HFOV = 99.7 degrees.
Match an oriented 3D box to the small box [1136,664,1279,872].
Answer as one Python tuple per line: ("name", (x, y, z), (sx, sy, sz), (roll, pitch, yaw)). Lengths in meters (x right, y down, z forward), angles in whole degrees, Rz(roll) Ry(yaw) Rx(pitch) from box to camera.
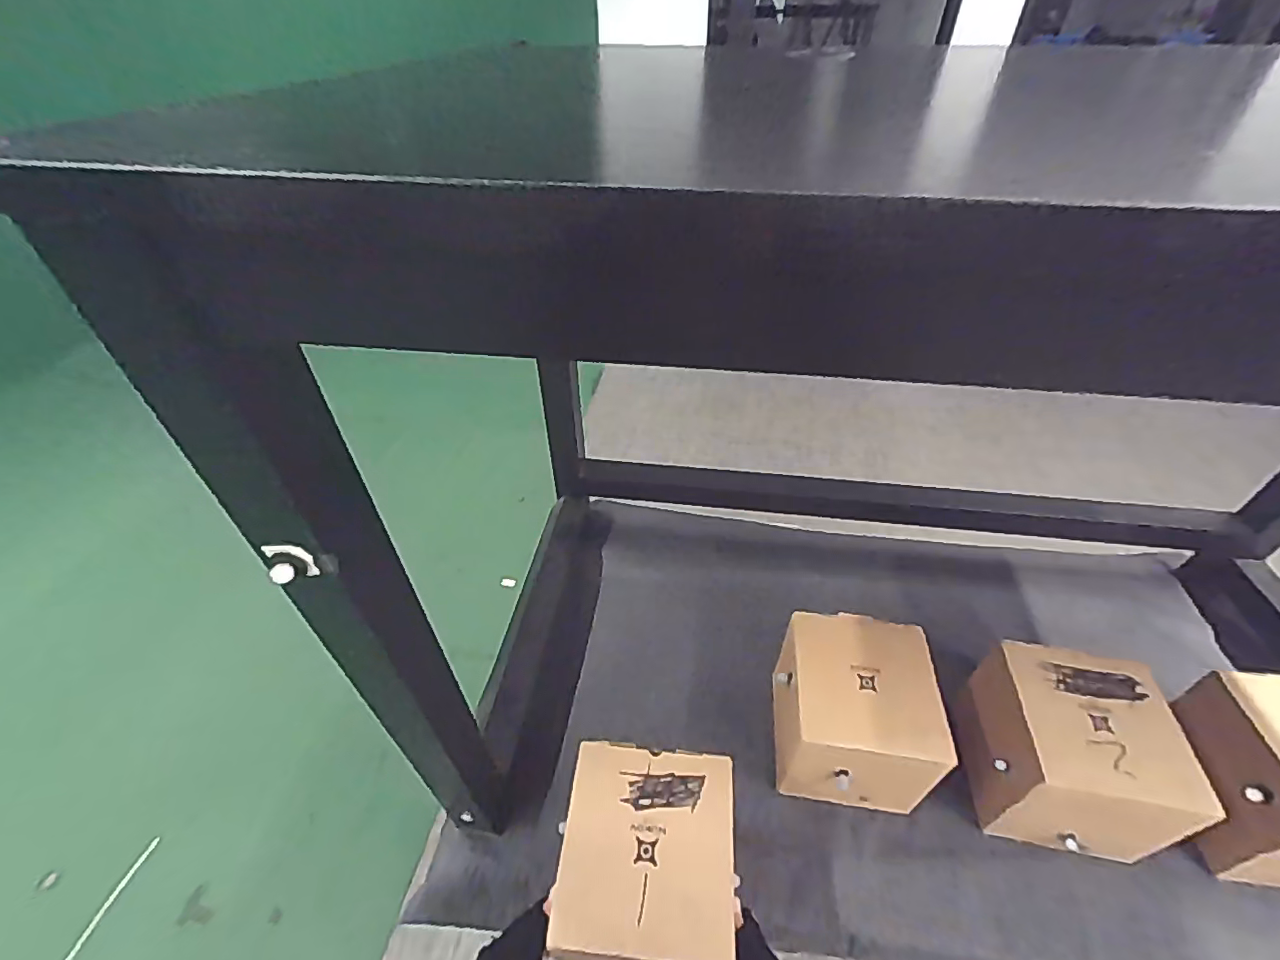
("small box", (0.759, 0.347, 0.637), (0.168, 0.176, 0.179), (5, 41, 6))

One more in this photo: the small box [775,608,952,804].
("small box", (0.273, 0.296, 0.708), (0.168, 0.176, 0.179), (5, 41, 7))
